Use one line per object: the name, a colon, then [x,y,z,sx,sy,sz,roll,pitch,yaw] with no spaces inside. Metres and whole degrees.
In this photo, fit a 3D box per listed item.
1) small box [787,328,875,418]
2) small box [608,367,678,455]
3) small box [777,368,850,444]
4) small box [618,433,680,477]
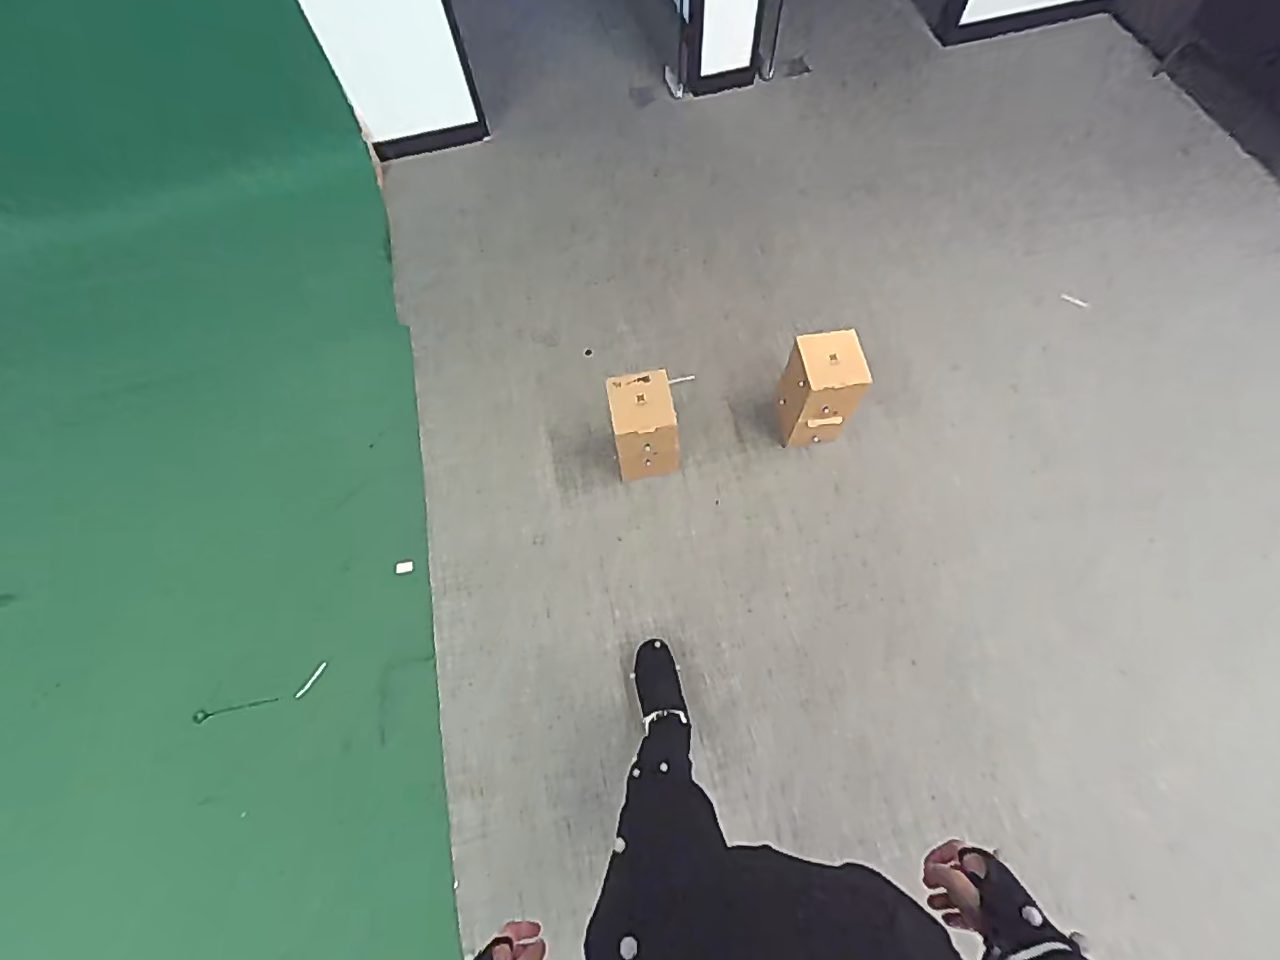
small box: [0.522,-0.294,1.505,0.168,0.176,0.179,-7,67,-1]
small box: [0.011,-0.180,1.479,0.168,0.176,0.179,-9,68,-1]
small box: [0.522,-0.227,1.651,0.168,0.176,0.179,-3,68,3]
small box: [0.022,-0.120,1.631,0.179,0.176,0.168,-8,67,-1]
